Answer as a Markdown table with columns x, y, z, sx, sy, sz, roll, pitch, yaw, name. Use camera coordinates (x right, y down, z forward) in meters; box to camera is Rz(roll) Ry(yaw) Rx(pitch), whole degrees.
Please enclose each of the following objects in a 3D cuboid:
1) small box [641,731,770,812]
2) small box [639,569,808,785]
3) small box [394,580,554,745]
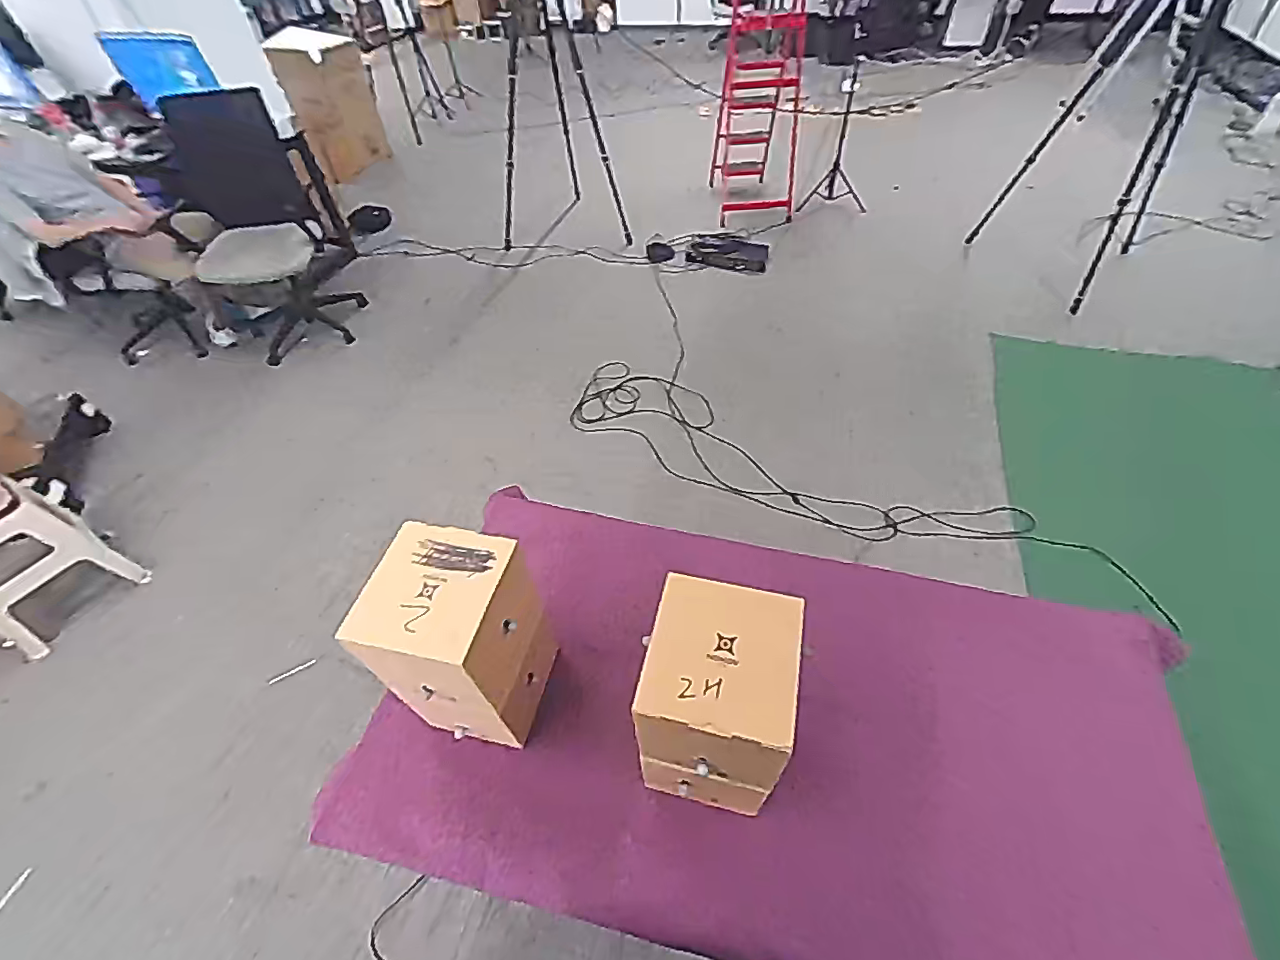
| x | y | z | sx | sy | sz | roll | pitch | yaw | name |
| --- | --- | --- | --- | --- | --- | --- | --- | --- | --- |
| 0.105 | 0.351 | 0.779 | 0.168 | 0.176 | 0.179 | 9 | 49 | 11 | small box |
| 0.100 | 0.239 | 0.658 | 0.168 | 0.176 | 0.179 | 10 | 50 | 12 | small box |
| -0.243 | 0.287 | 0.849 | 0.168 | 0.176 | 0.179 | 9 | 51 | 11 | small box |
